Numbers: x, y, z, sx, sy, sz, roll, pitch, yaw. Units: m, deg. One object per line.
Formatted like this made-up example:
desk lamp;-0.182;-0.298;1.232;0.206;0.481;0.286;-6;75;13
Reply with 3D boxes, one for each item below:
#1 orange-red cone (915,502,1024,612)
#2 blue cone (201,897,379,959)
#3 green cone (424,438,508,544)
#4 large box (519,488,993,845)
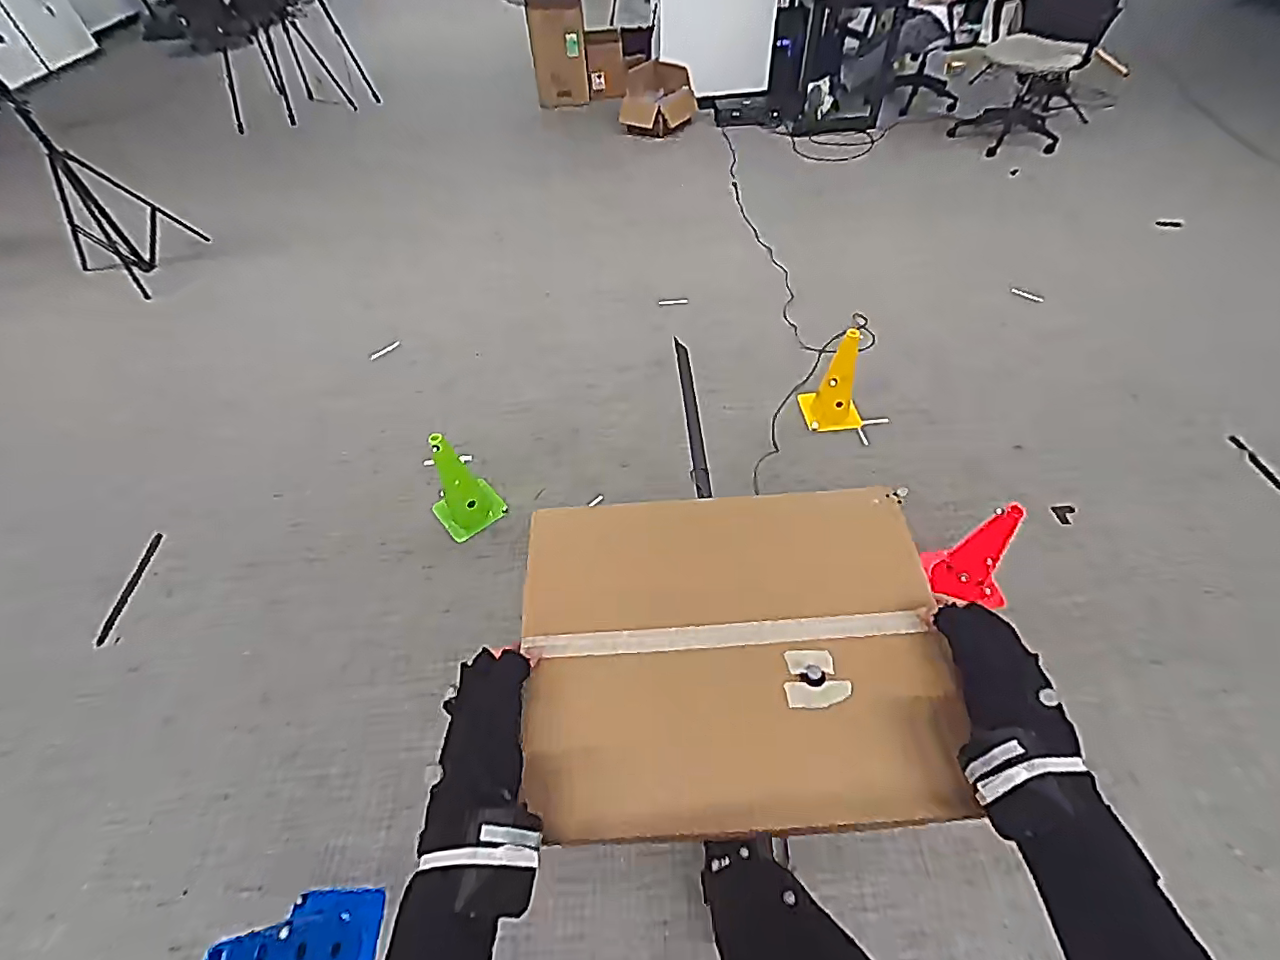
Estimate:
orange-red cone;0.920;0.179;1.447;0.198;0.360;0.199;-6;49;-2
blue cone;-0.661;0.886;0.999;0.192;0.380;0.193;-3;50;3
green cone;-0.586;-0.002;1.697;0.202;0.368;0.200;-37;57;-22
large box;0.091;0.234;0.650;0.408;0.320;0.320;-4;55;0
